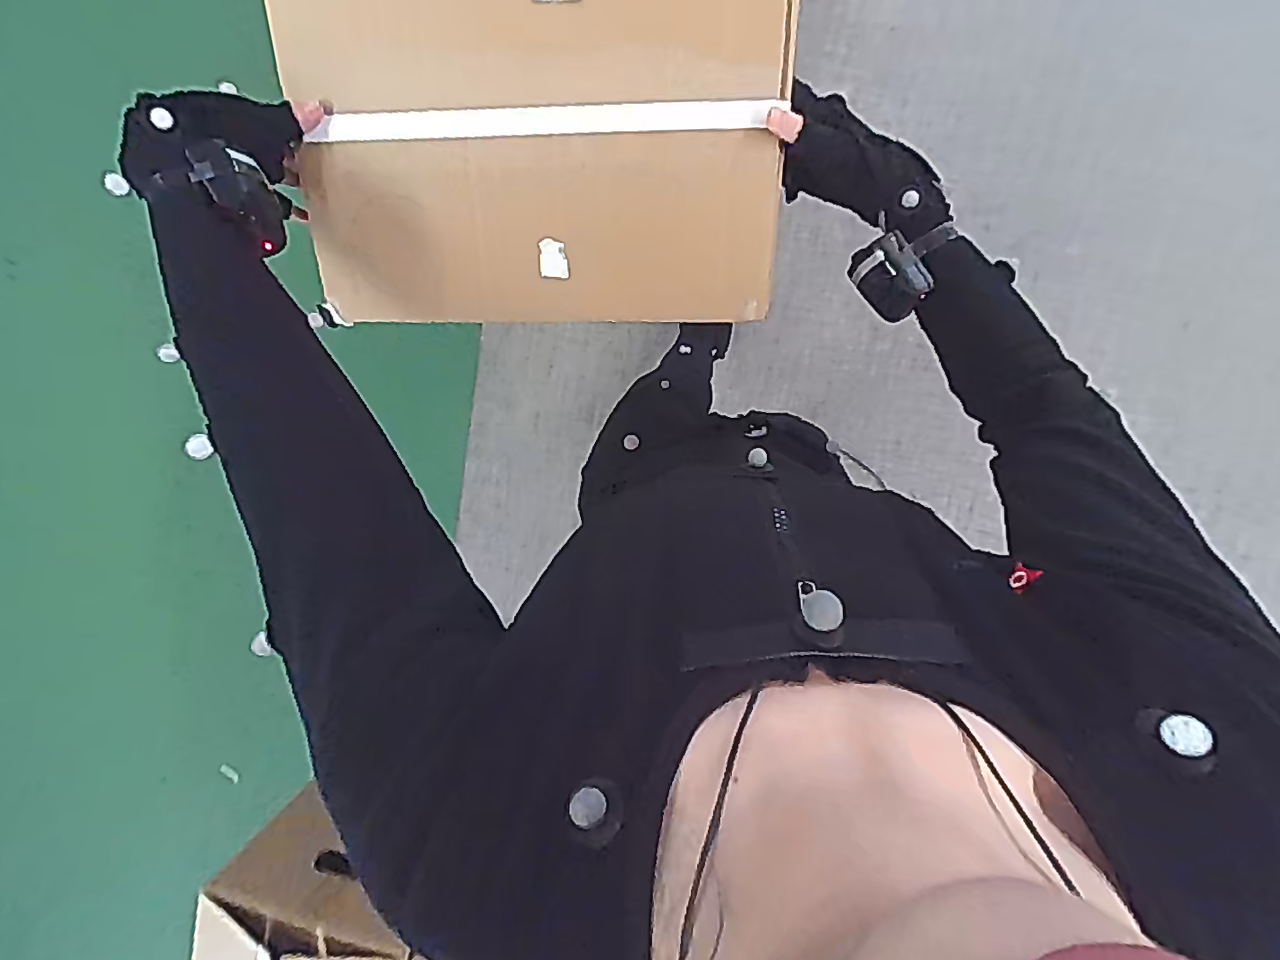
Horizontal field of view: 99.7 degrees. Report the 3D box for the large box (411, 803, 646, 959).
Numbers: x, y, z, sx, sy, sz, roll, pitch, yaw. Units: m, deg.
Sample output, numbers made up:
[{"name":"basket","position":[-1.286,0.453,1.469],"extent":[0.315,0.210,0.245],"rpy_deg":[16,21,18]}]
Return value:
[{"name":"large box","position":[-0.189,0.847,0.896],"extent":[0.320,0.320,0.408],"rpy_deg":[14,101,5]}]
